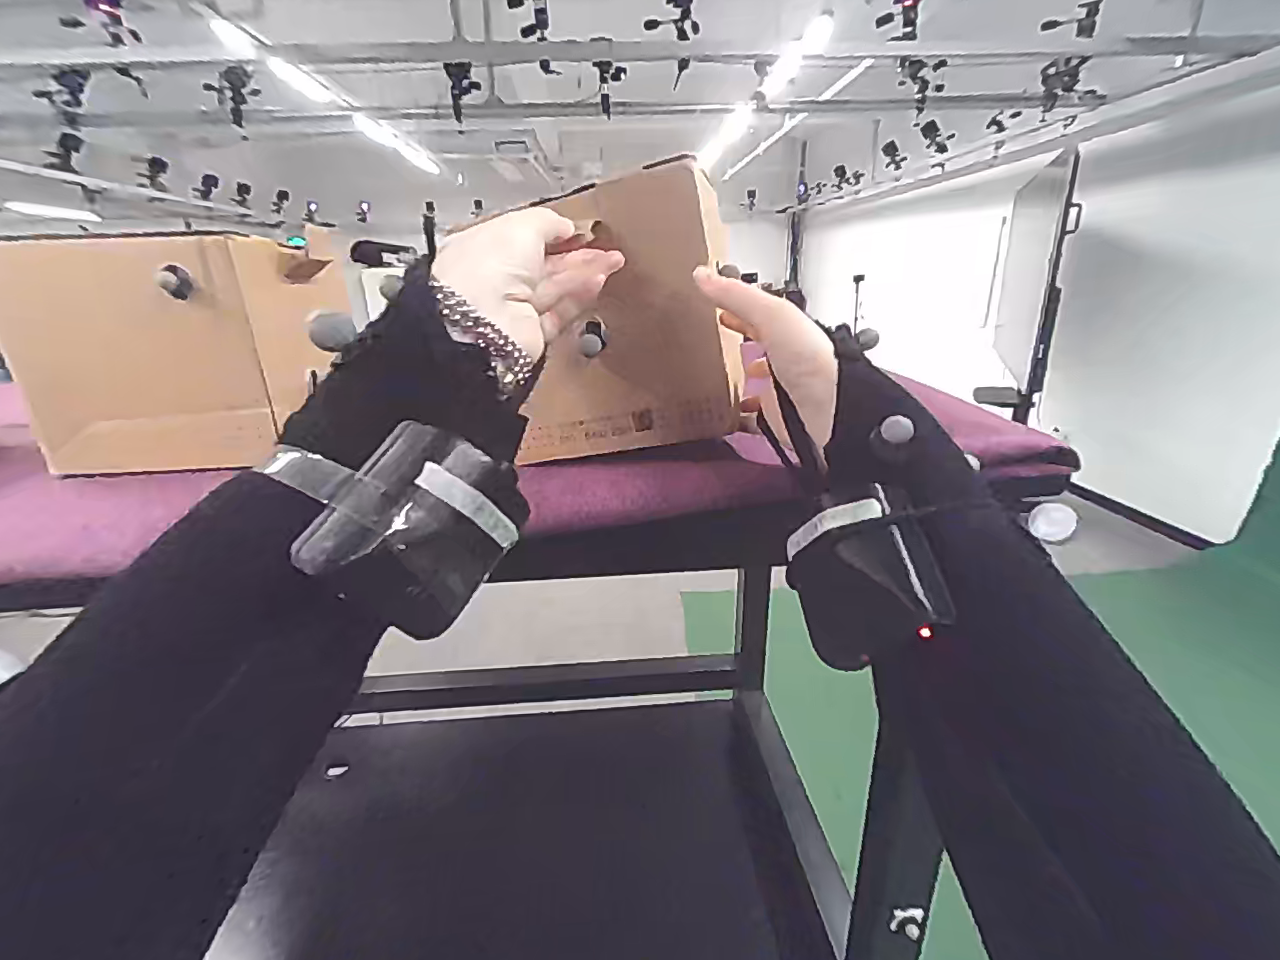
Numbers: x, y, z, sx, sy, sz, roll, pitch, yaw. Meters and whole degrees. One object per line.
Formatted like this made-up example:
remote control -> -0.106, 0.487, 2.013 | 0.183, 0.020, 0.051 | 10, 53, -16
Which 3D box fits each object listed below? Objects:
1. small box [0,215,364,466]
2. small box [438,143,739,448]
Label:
small box -> -0.363, -0.113, 0.450 | 0.179, 0.176, 0.168 | -3, 19, -3
small box -> -0.017, -0.129, 0.418 | 0.168, 0.176, 0.179 | -7, 20, 14
